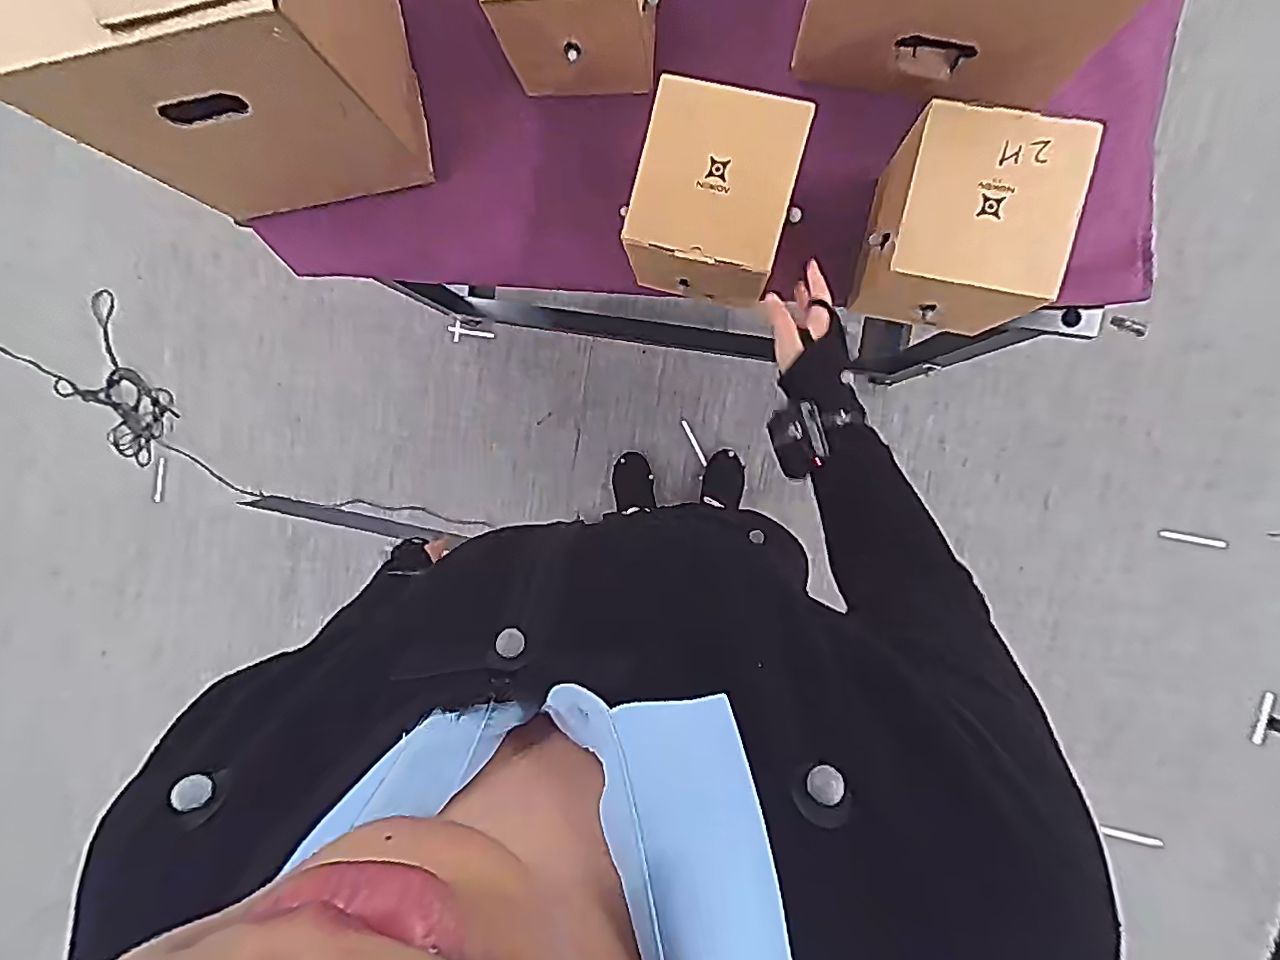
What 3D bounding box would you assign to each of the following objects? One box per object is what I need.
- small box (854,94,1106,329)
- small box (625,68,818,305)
[{"bbox_3d":[0.359,-0.284,0.612,0.168,0.176,0.179,13,93,5],"label":"small box"},{"bbox_3d":[0.090,-0.329,0.641,0.168,0.176,0.179,15,96,5],"label":"small box"}]
